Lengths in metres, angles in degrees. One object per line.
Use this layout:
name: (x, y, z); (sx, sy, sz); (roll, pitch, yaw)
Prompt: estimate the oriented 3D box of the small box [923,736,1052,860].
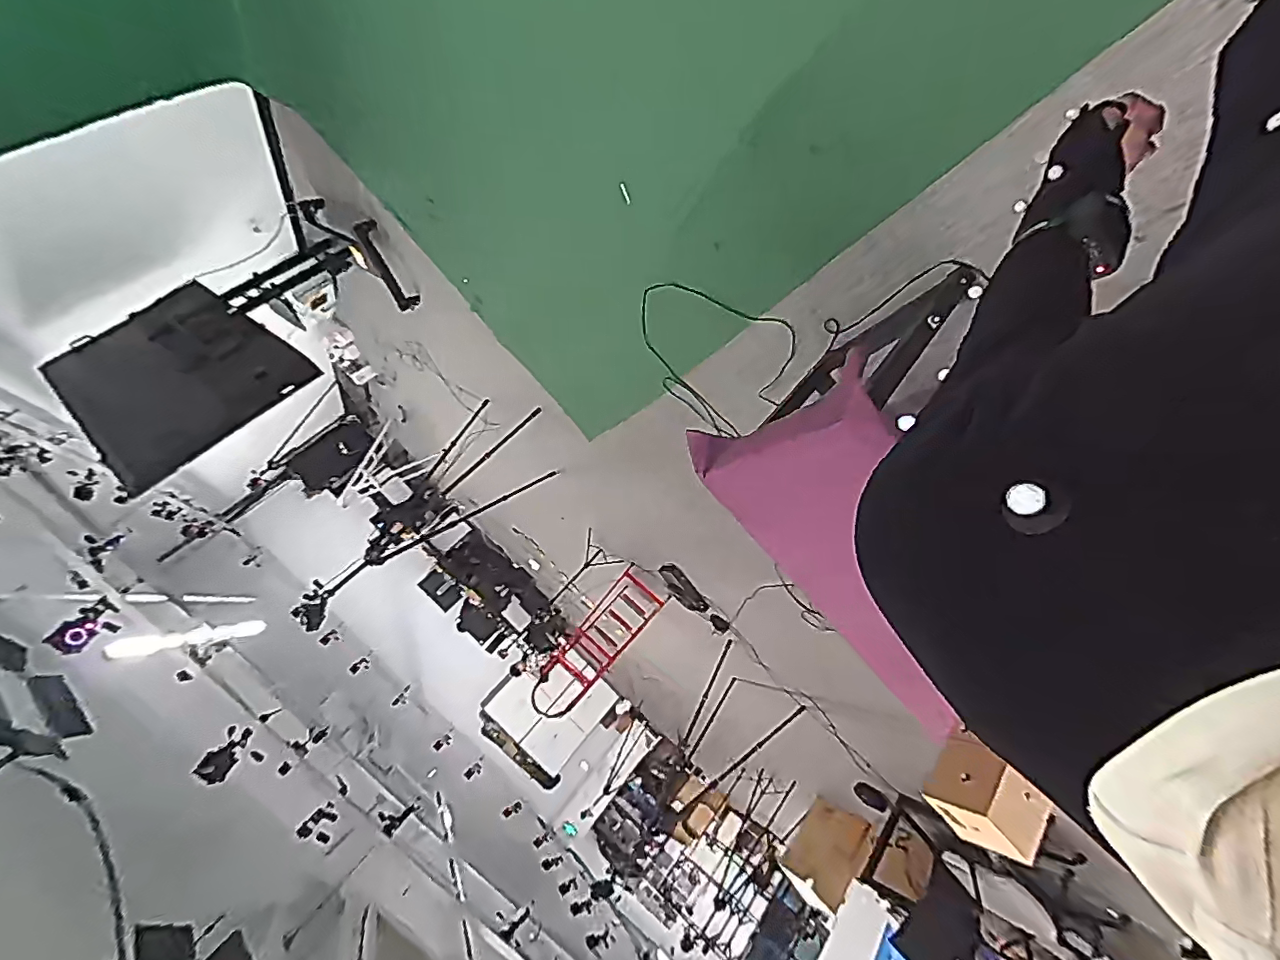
small box: (0.833, 0.748, 1.296); (0.168, 0.176, 0.179); (47, 154, -6)
